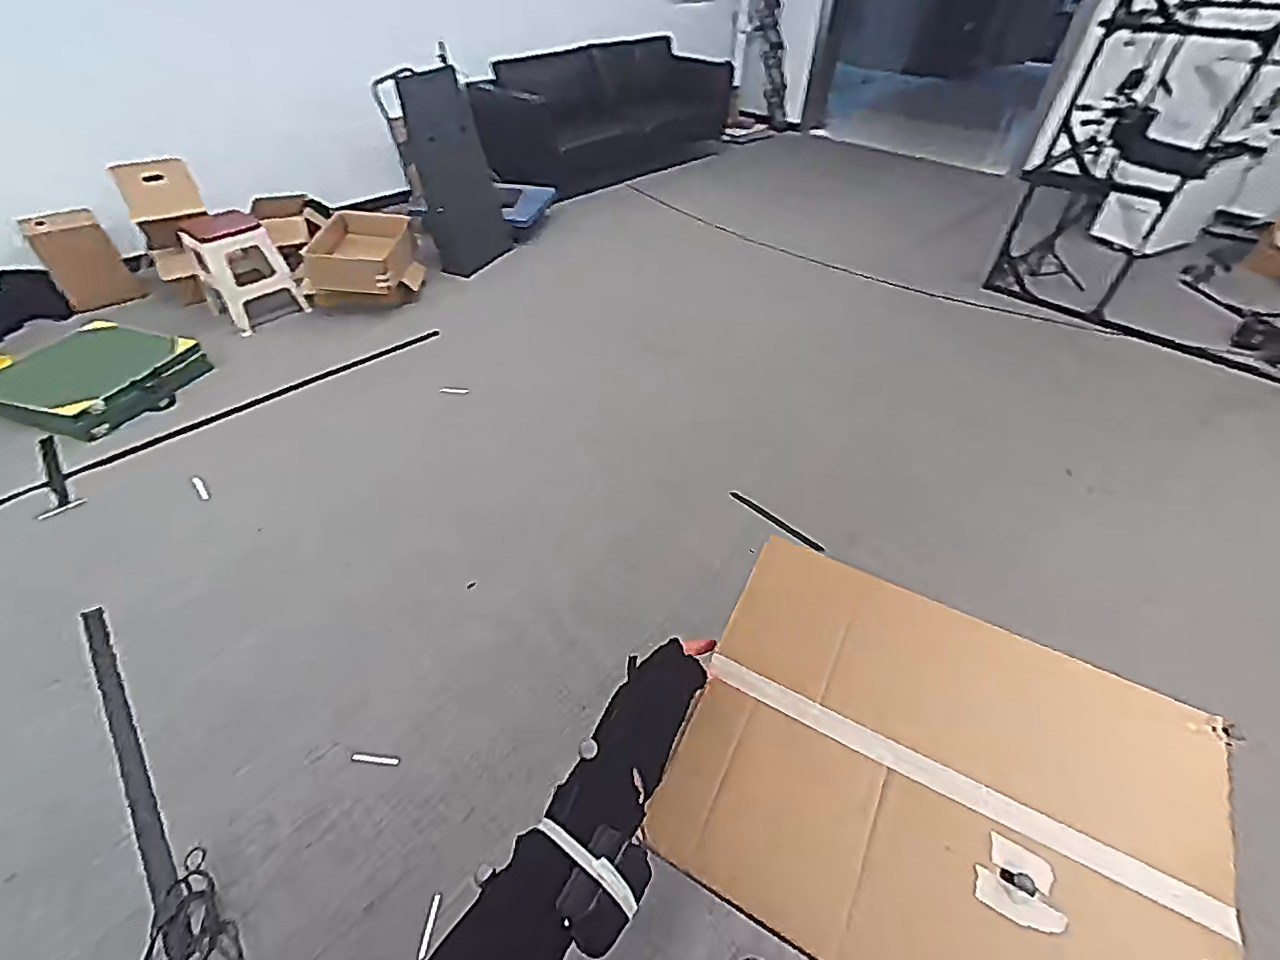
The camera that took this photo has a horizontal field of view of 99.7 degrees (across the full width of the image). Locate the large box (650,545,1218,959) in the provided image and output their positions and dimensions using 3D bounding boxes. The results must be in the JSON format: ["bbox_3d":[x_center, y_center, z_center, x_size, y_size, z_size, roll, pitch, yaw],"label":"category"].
[{"bbox_3d":[0.255,0.334,0.581,0.408,0.320,0.320,22,60,18],"label":"large box"}]
